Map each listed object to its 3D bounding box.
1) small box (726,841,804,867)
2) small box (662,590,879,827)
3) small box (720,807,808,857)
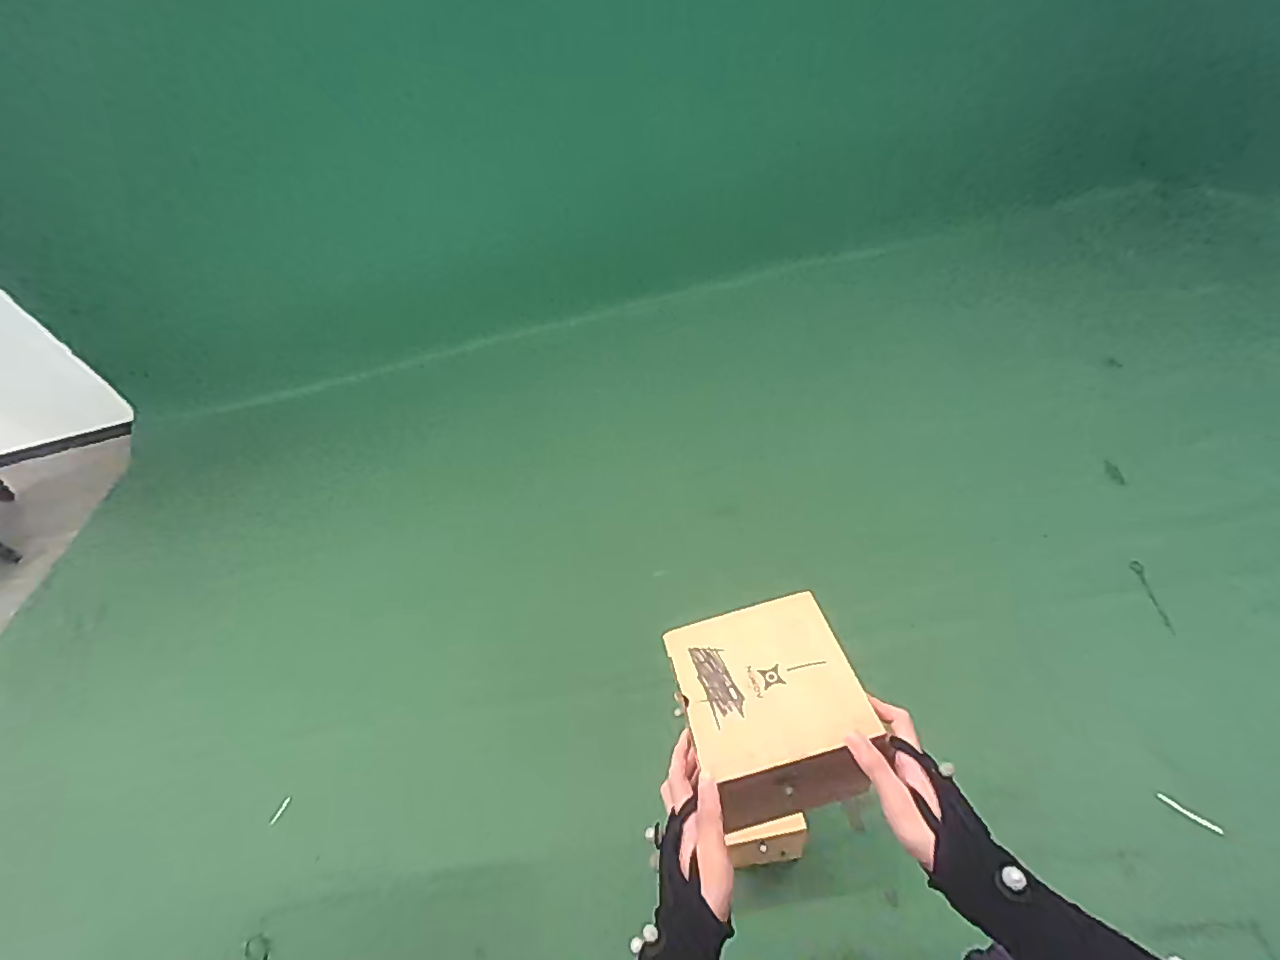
[{"bbox_3d":[0.289,0.825,1.316,0.179,0.176,0.168,-13,47,5],"label":"small box"},{"bbox_3d":[0.138,0.256,0.601,0.179,0.176,0.168,-16,43,-2],"label":"small box"},{"bbox_3d":[0.261,0.715,1.199,0.179,0.176,0.168,-15,47,4],"label":"small box"}]
